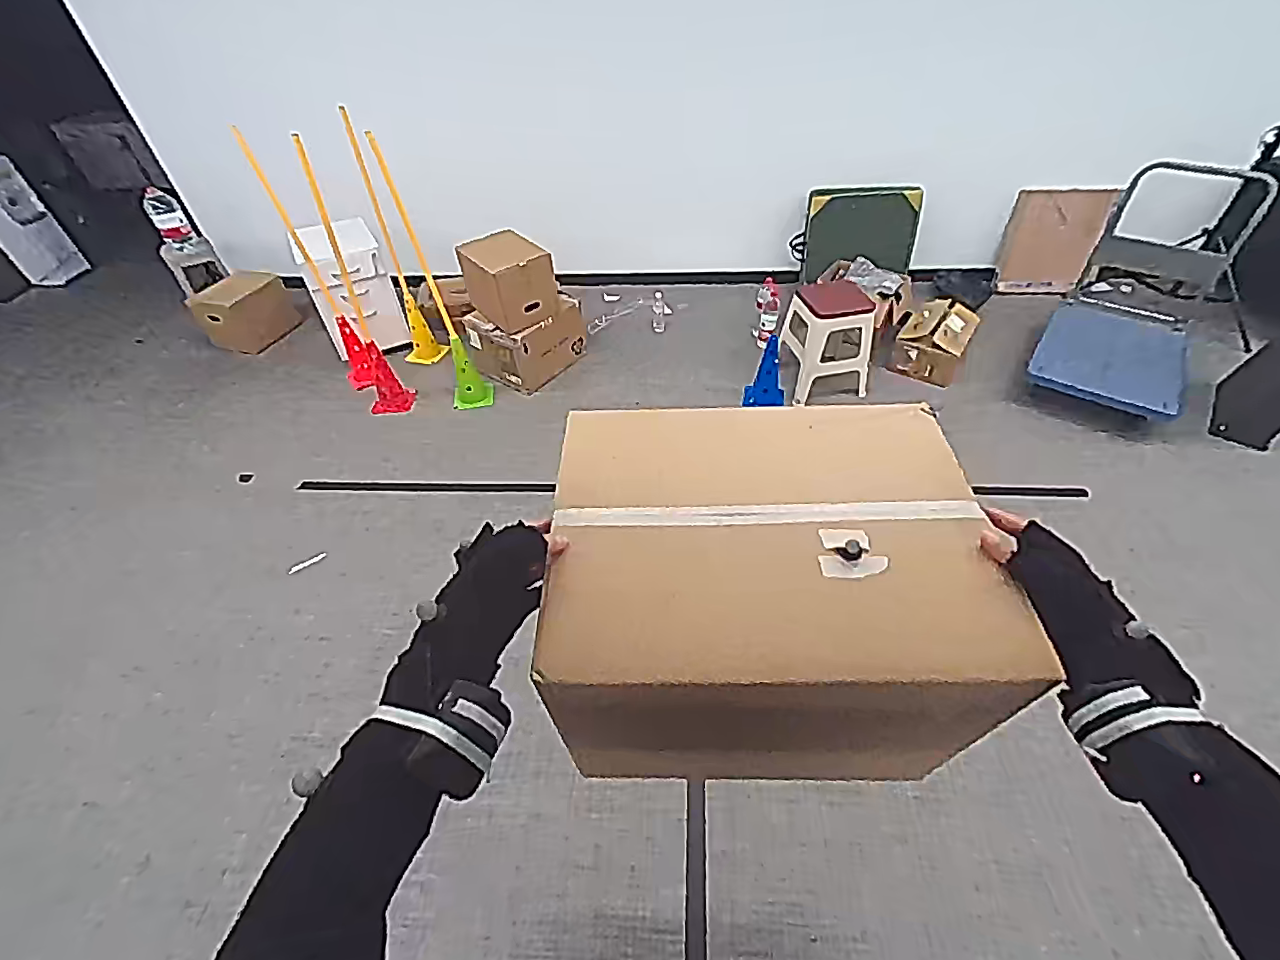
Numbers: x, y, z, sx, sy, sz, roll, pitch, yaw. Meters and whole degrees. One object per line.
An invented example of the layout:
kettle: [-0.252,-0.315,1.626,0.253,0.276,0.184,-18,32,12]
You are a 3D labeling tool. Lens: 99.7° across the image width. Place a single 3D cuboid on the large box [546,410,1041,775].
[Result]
large box: [0.123,0.138,0.637,0.408,0.320,0.320,-1,50,2]
